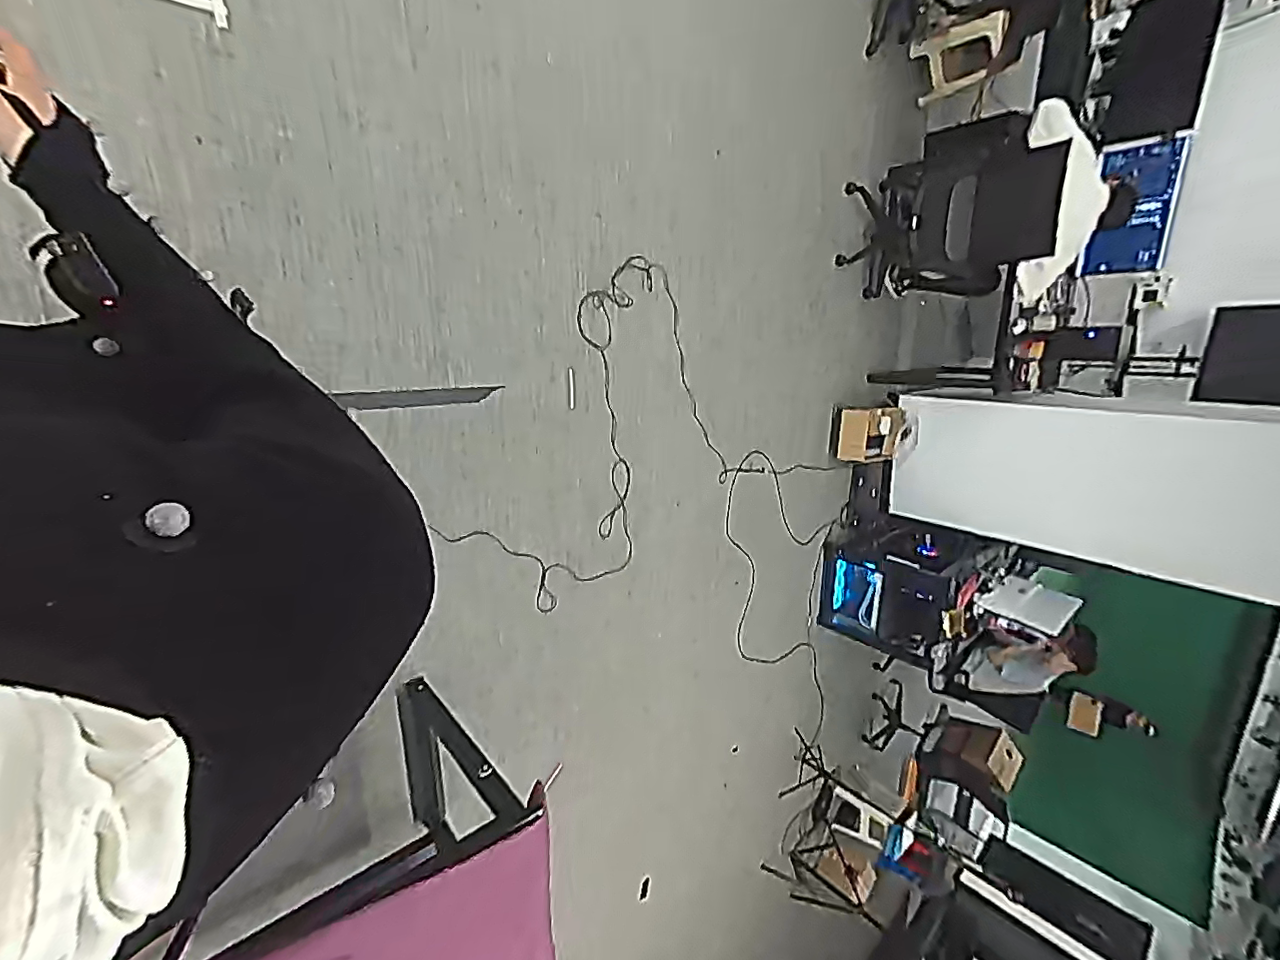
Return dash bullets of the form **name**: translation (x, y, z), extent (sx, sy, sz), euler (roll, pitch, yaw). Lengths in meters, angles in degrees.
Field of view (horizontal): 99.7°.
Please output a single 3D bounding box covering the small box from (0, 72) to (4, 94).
- **small box**: translation (-0.641, -0.386, 0.408), extent (0.168, 0.176, 0.179), euler (-26, 115, -50)
